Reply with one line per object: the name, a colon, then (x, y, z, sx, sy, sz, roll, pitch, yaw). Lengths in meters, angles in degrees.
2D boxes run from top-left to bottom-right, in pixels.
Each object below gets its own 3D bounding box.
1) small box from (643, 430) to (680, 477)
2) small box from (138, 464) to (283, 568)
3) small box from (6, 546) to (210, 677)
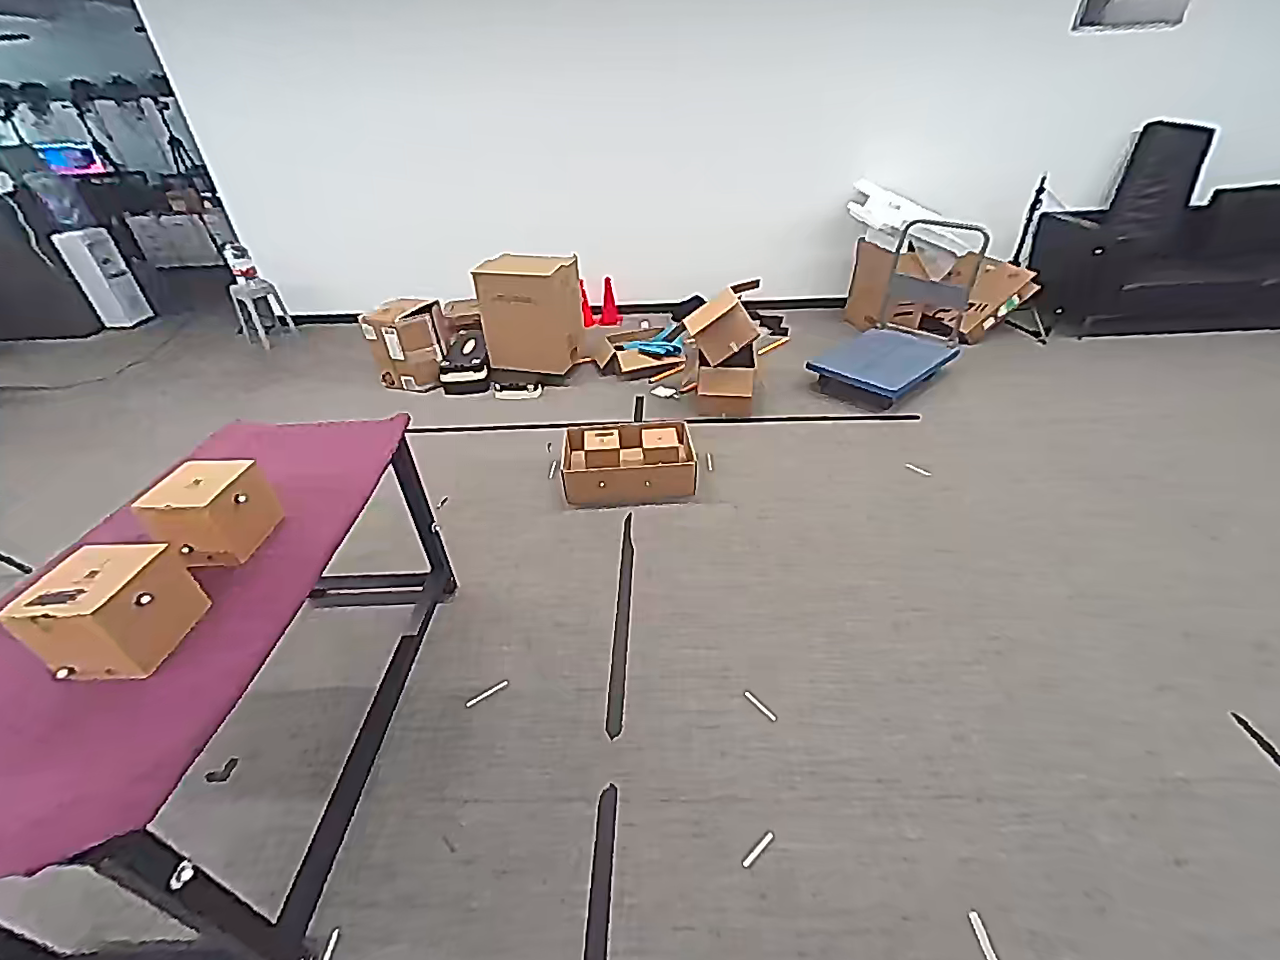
small box: (0.102, -0.124, 2.609, 0.168, 0.176, 0.179, -3, 34, -1)
small box: (-0.953, 0.079, 1.225, 0.168, 0.176, 0.179, -1, 36, 3)
small box: (-0.949, 0.242, 0.991, 0.168, 0.176, 0.179, -1, 34, 2)
